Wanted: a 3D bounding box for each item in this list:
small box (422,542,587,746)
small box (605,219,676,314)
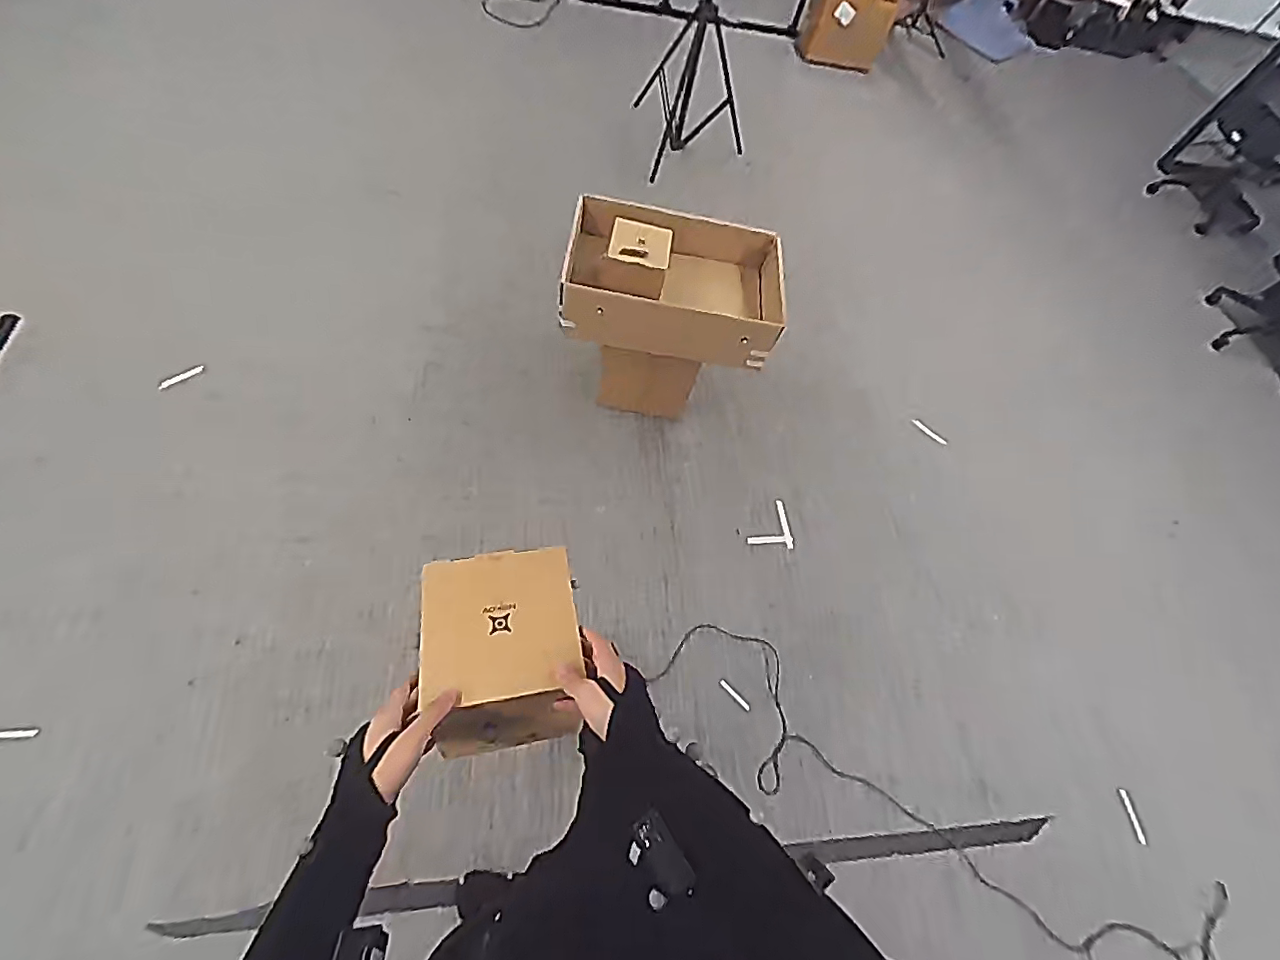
[{"bbox_3d":[-0.156,0.200,0.647,0.168,0.176,0.179,-5,49,-13],"label":"small box"},{"bbox_3d":[-0.002,-0.603,1.544,0.168,0.176,0.179,11,60,-5],"label":"small box"}]
